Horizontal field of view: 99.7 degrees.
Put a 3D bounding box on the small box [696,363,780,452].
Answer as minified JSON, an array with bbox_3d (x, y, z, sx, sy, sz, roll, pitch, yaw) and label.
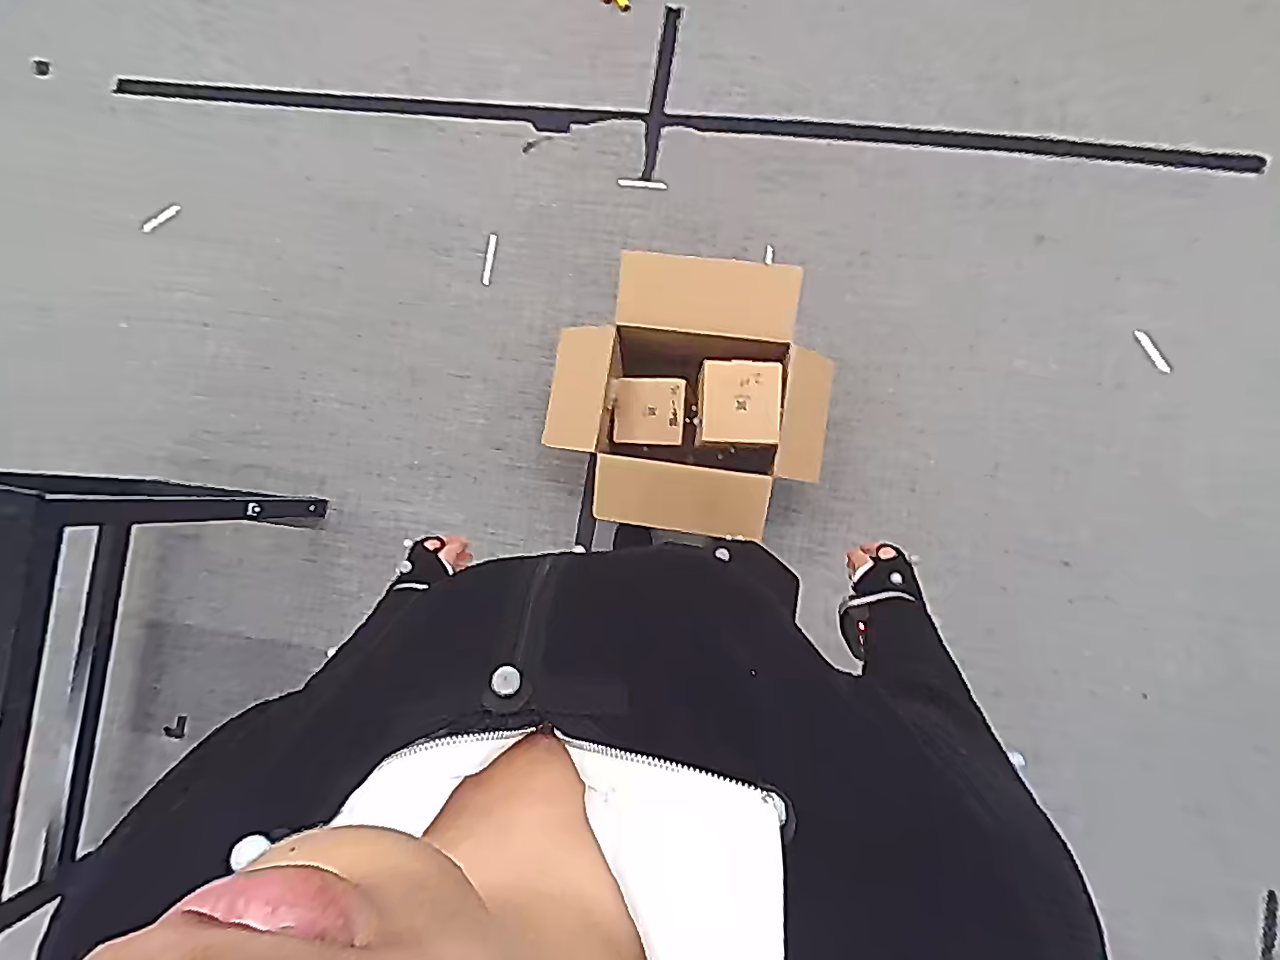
[{"bbox_3d":[0.217,-0.159,1.235,0.168,0.176,0.179,3,88,2],"label":"small box"}]
